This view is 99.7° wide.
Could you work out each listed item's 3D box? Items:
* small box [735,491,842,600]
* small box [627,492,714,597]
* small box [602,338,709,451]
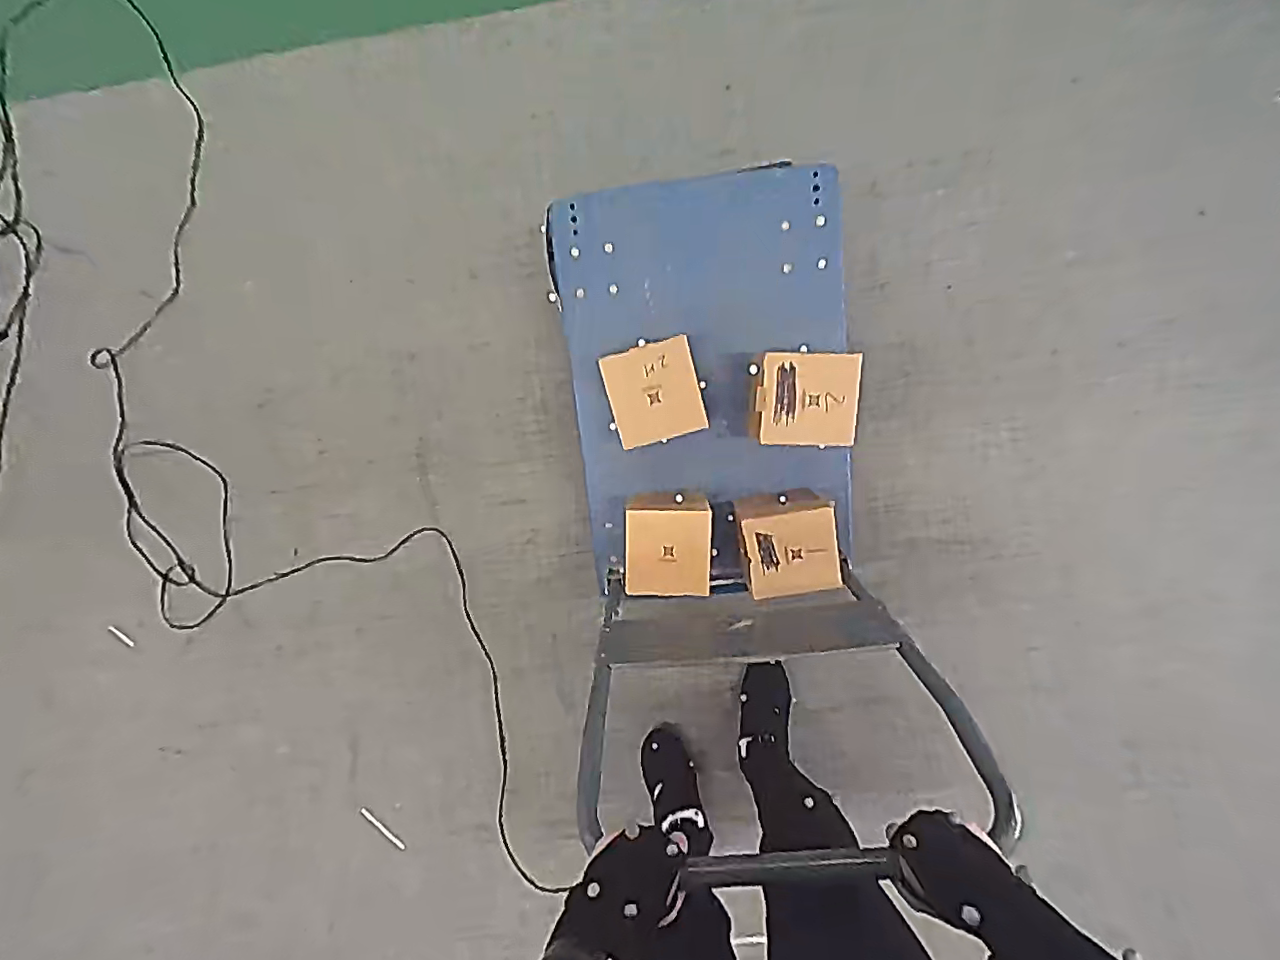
[{"bbox_3d":[0.295,0.128,1.108,0.179,0.176,0.168,-9,102,3],"label":"small box"},{"bbox_3d":[0.059,0.126,1.120,0.168,0.176,0.179,1,103,1],"label":"small box"},{"bbox_3d":[0.032,-0.171,1.059,0.168,0.176,0.179,-14,100,4],"label":"small box"}]
